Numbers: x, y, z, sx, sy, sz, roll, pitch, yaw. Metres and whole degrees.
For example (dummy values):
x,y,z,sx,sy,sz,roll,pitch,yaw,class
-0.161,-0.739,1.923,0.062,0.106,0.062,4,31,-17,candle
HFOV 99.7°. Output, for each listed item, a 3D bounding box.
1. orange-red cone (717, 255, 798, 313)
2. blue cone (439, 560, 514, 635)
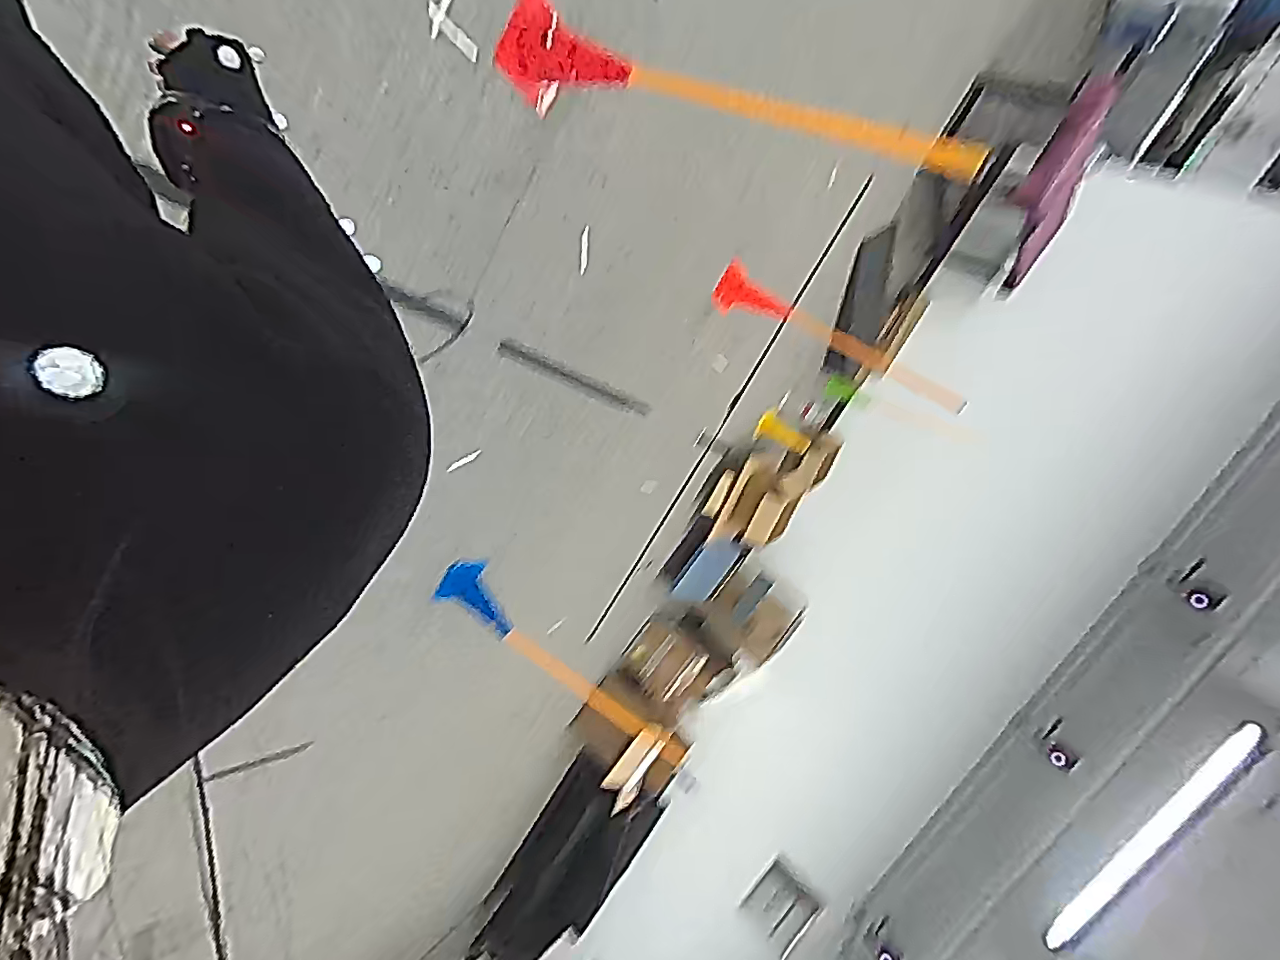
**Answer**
x,y,z,sx,sy,sz,roll,pitch,yaw,class
0.571,-0.858,2.499,0.198,0.360,0.199,-57,152,8,orange-red cone
-0.644,0.510,2.255,0.193,0.380,0.192,-58,151,8,blue cone
